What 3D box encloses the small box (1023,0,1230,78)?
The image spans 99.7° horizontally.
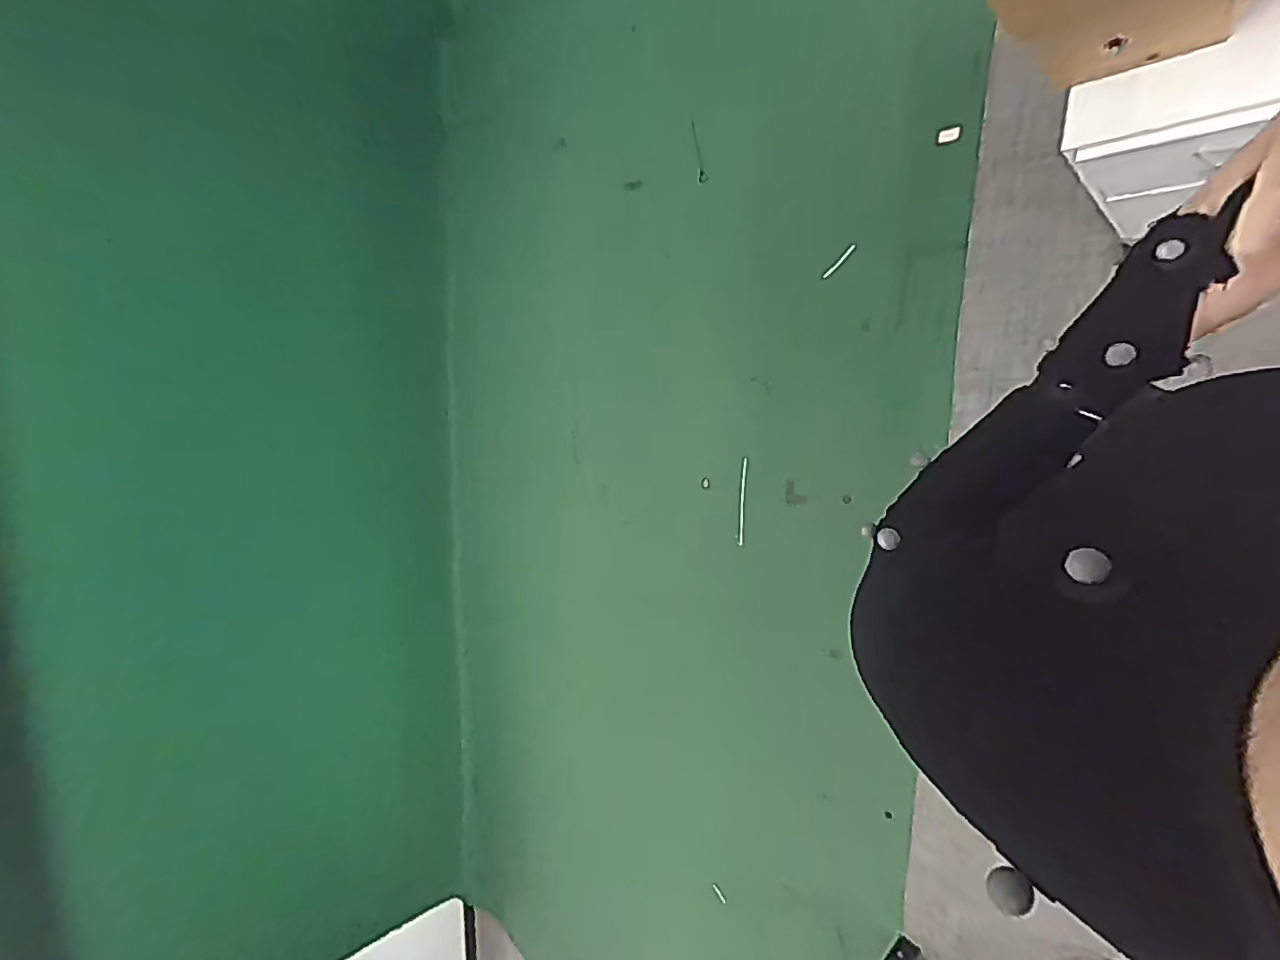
[{"bbox_3d":[0.554,-0.591,0.604,0.168,0.176,0.179,12,104,45],"label":"small box"}]
